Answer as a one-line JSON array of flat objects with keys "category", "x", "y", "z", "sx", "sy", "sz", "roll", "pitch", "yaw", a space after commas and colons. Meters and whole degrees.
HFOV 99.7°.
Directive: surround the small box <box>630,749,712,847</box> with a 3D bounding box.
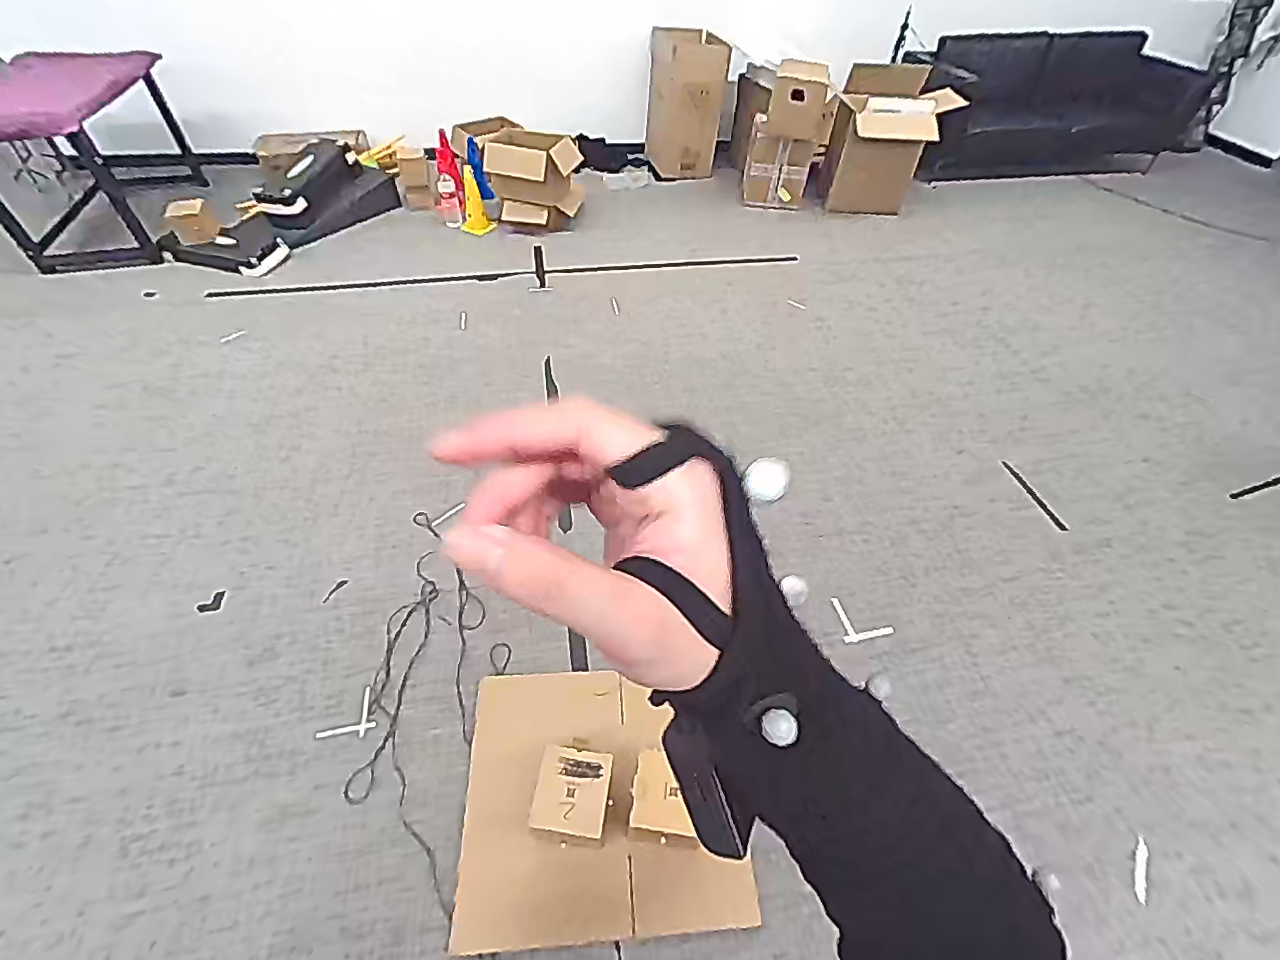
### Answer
[{"category": "small box", "x": 0.074, "y": 0.780, "z": 1.320, "sx": 0.179, "sy": 0.176, "sz": 0.168, "roll": 7, "pitch": 48, "yaw": 4}]
